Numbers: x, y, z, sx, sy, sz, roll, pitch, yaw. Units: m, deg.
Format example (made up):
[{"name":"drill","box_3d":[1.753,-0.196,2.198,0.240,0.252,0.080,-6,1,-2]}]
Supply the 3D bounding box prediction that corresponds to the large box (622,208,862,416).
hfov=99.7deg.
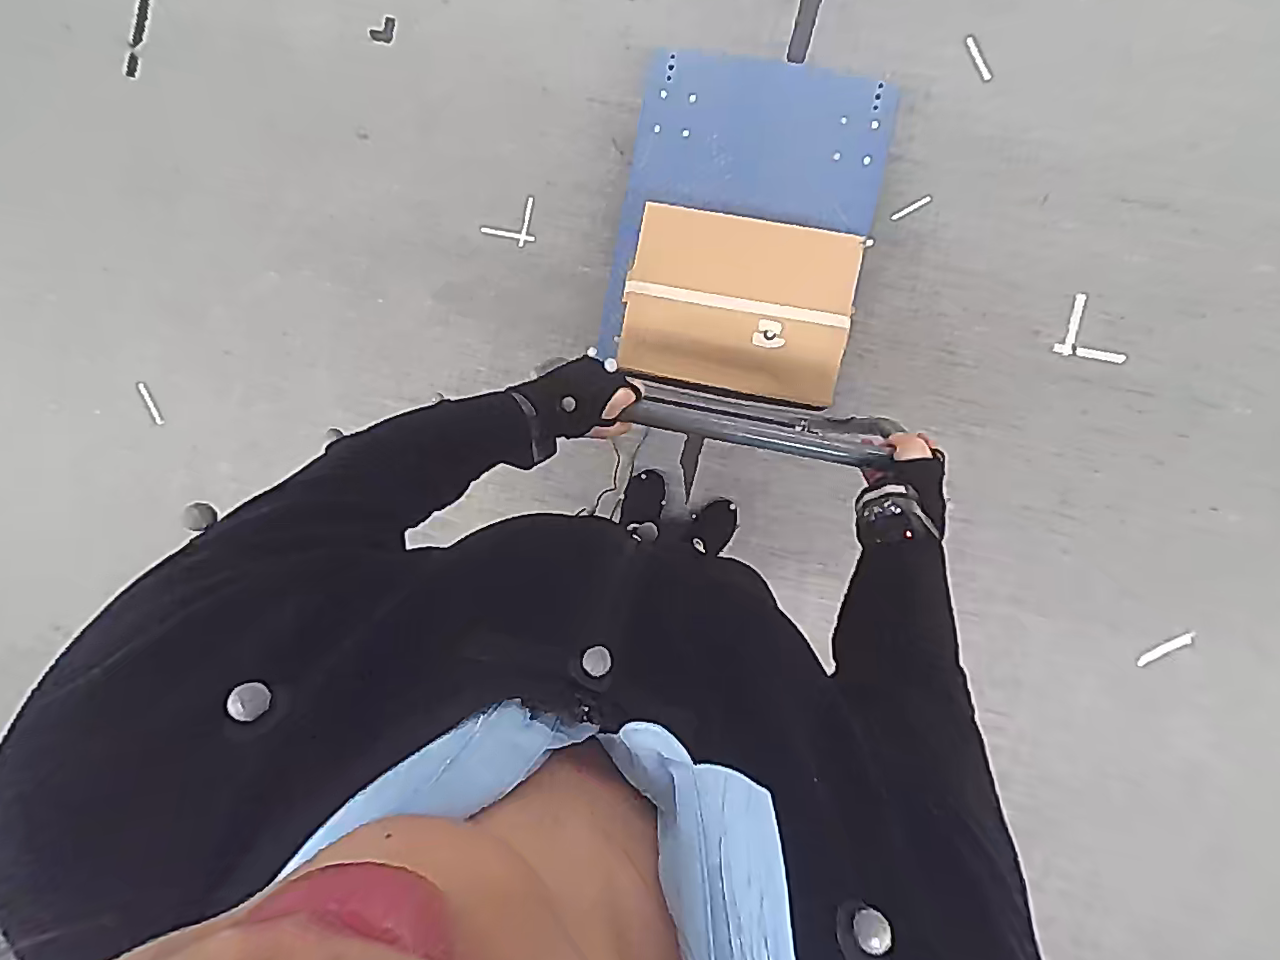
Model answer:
[{"name":"large box","box_3d":[0.192,-0.329,1.146,0.408,0.320,0.320,11,94,3]}]
